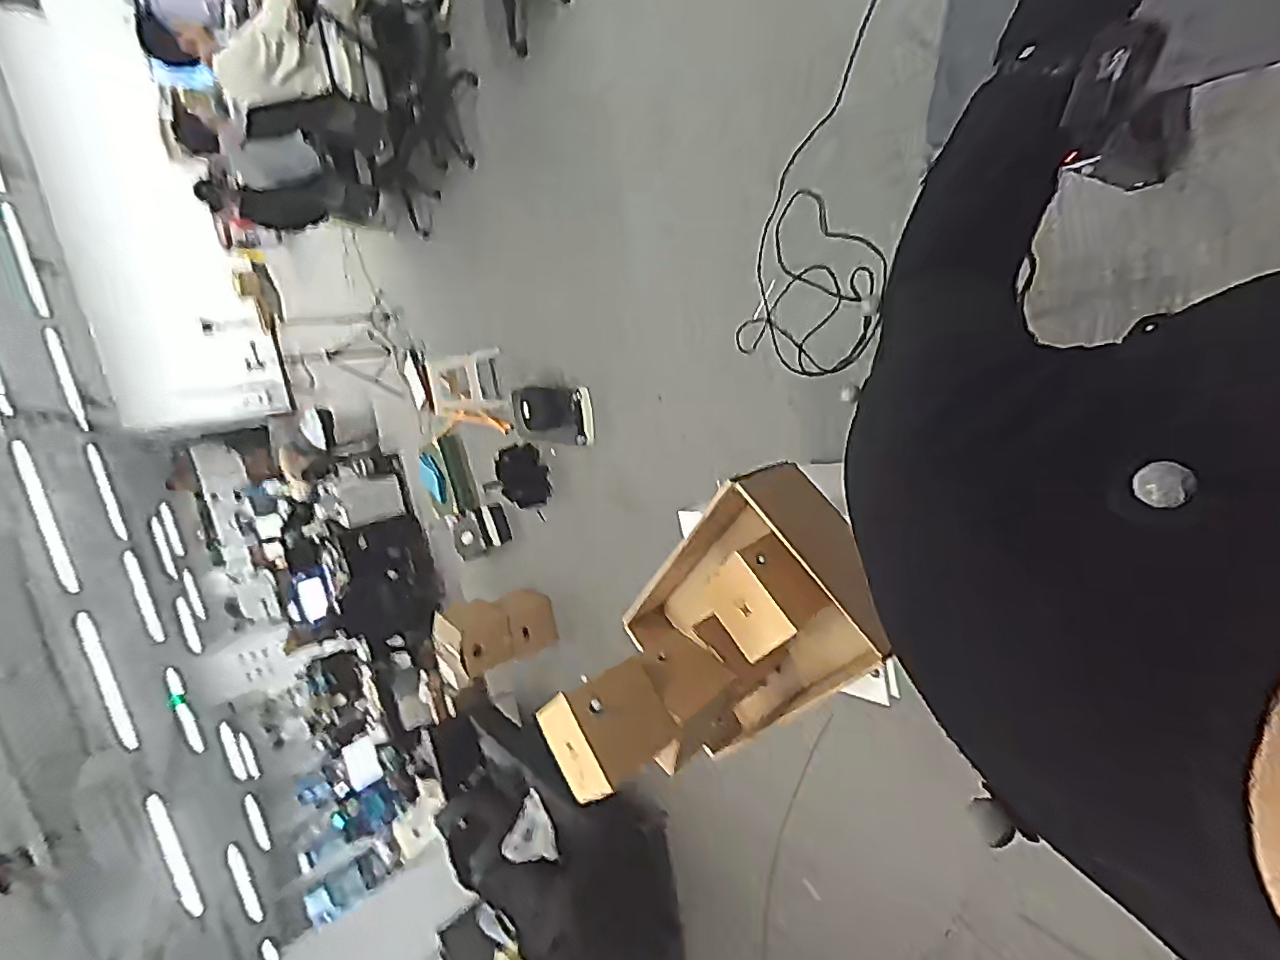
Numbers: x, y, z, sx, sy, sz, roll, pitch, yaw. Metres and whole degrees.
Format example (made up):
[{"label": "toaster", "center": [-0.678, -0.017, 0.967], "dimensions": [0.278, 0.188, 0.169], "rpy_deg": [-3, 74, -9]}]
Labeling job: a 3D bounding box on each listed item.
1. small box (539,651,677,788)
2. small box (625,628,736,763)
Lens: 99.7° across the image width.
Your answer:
[{"label": "small box", "center": [-0.062, 0.451, 1.037], "dimensions": [0.179, 0.176, 0.168], "rpy_deg": [57, 140, 17]}, {"label": "small box", "center": [0.072, 0.437, 1.135], "dimensions": [0.179, 0.176, 0.168], "rpy_deg": [31, 127, 38]}]
